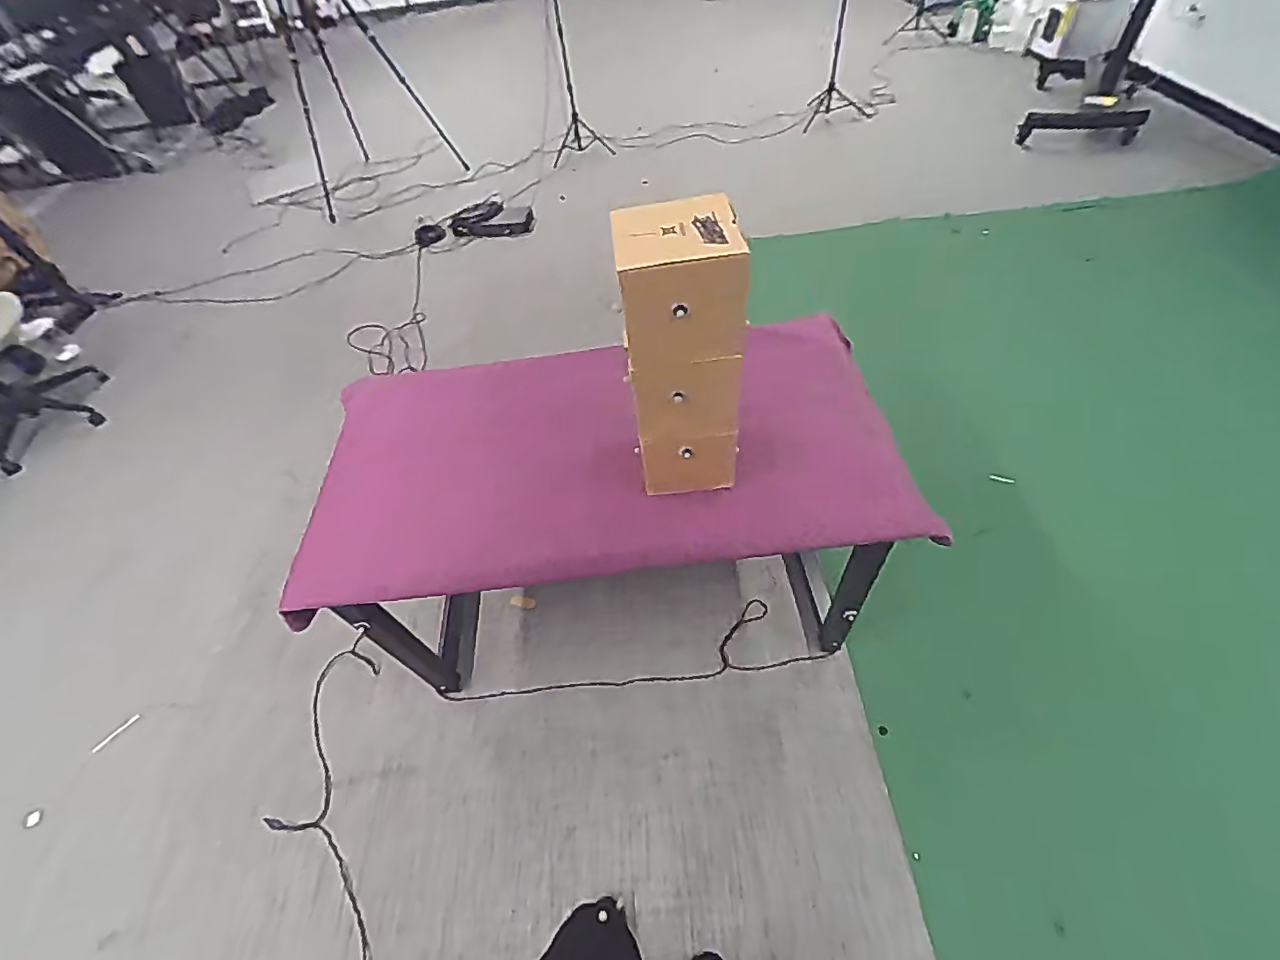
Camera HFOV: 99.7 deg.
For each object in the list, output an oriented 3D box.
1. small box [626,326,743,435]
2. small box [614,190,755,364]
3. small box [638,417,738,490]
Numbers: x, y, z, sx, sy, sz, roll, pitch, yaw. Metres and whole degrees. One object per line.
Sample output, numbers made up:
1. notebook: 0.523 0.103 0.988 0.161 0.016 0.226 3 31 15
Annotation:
1. small box: 0.076 -0.193 0.926 0.179 0.176 0.168 -7 54 3
2. small box: 0.061 -0.293 0.796 0.179 0.176 0.168 -8 53 2
3. small box: 0.092 -0.093 1.054 0.179 0.176 0.168 -5 53 3
